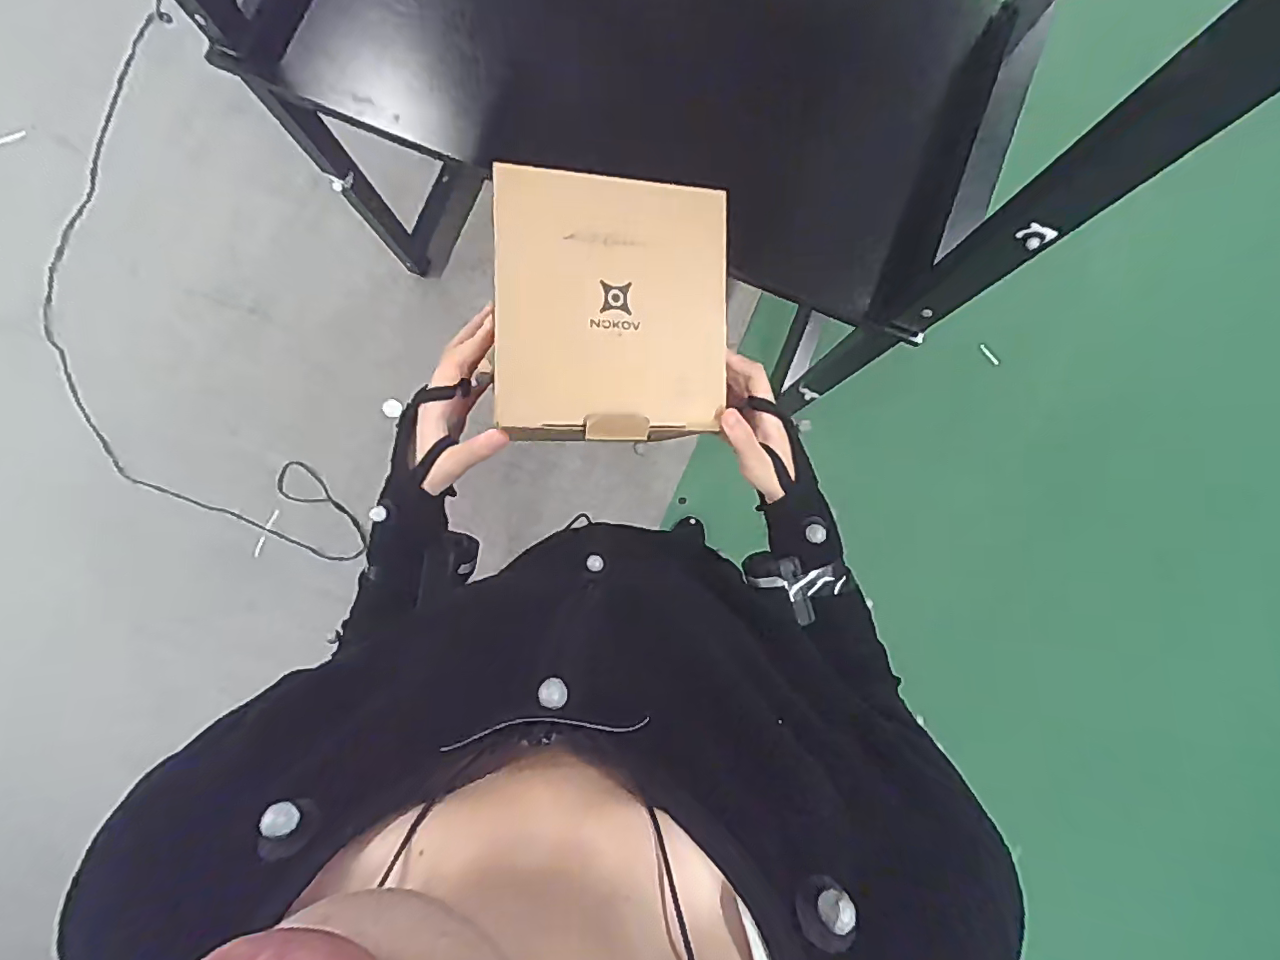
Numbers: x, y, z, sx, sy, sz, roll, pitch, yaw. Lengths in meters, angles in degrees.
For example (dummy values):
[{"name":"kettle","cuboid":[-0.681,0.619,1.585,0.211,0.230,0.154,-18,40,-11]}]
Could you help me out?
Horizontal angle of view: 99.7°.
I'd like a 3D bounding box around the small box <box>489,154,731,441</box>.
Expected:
[{"name":"small box","cuboid":[-0.035,-0.123,0.443,0.168,0.176,0.179,0,91,-15]}]
